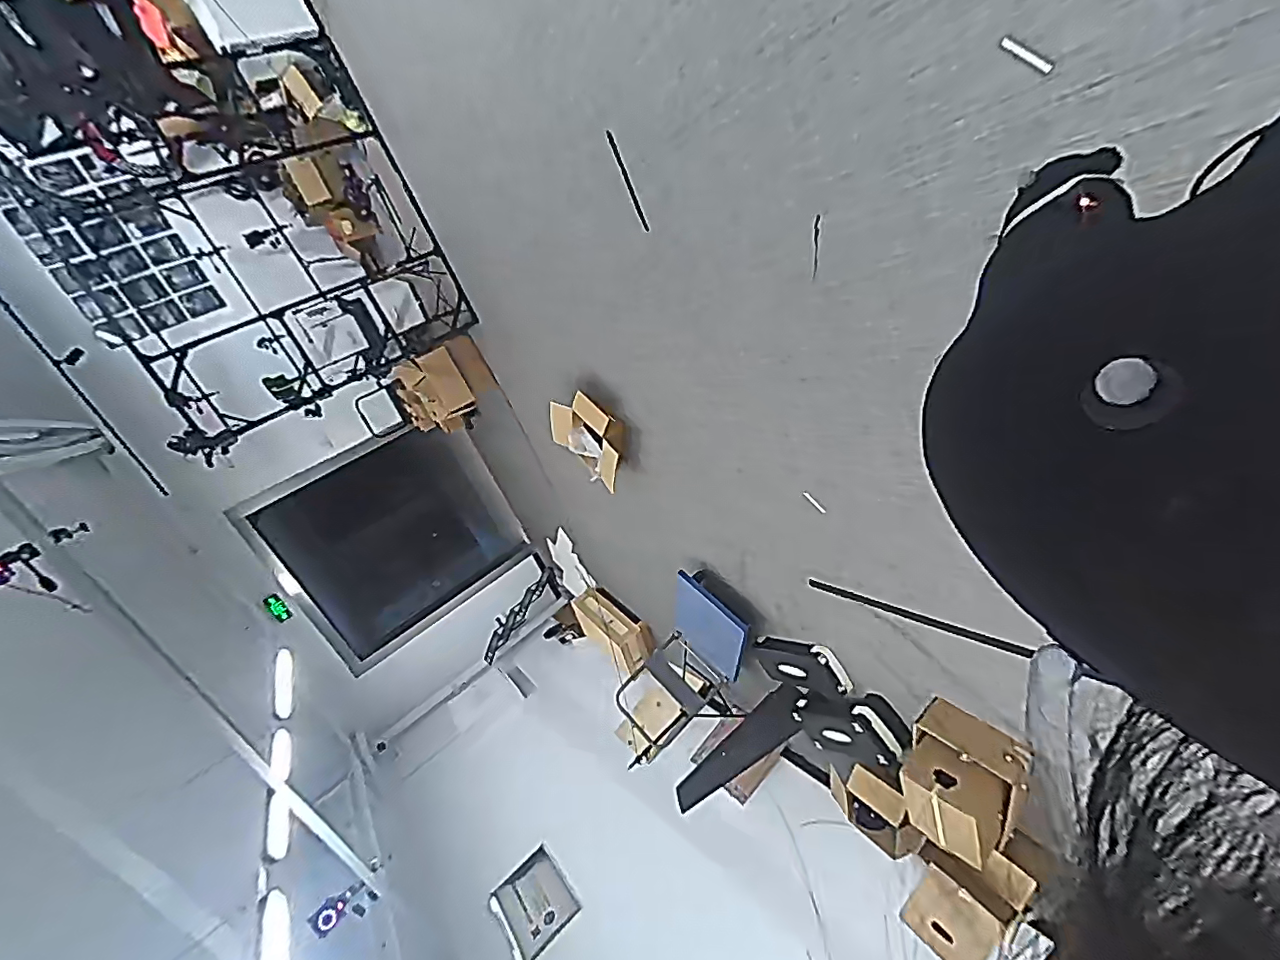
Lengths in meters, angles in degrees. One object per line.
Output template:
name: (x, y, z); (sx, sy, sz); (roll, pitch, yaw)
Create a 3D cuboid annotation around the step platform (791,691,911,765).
step platform: (1.137, 1.364, 2.999); (0.286, 0.204, 0.684); (53, 154, 5)
